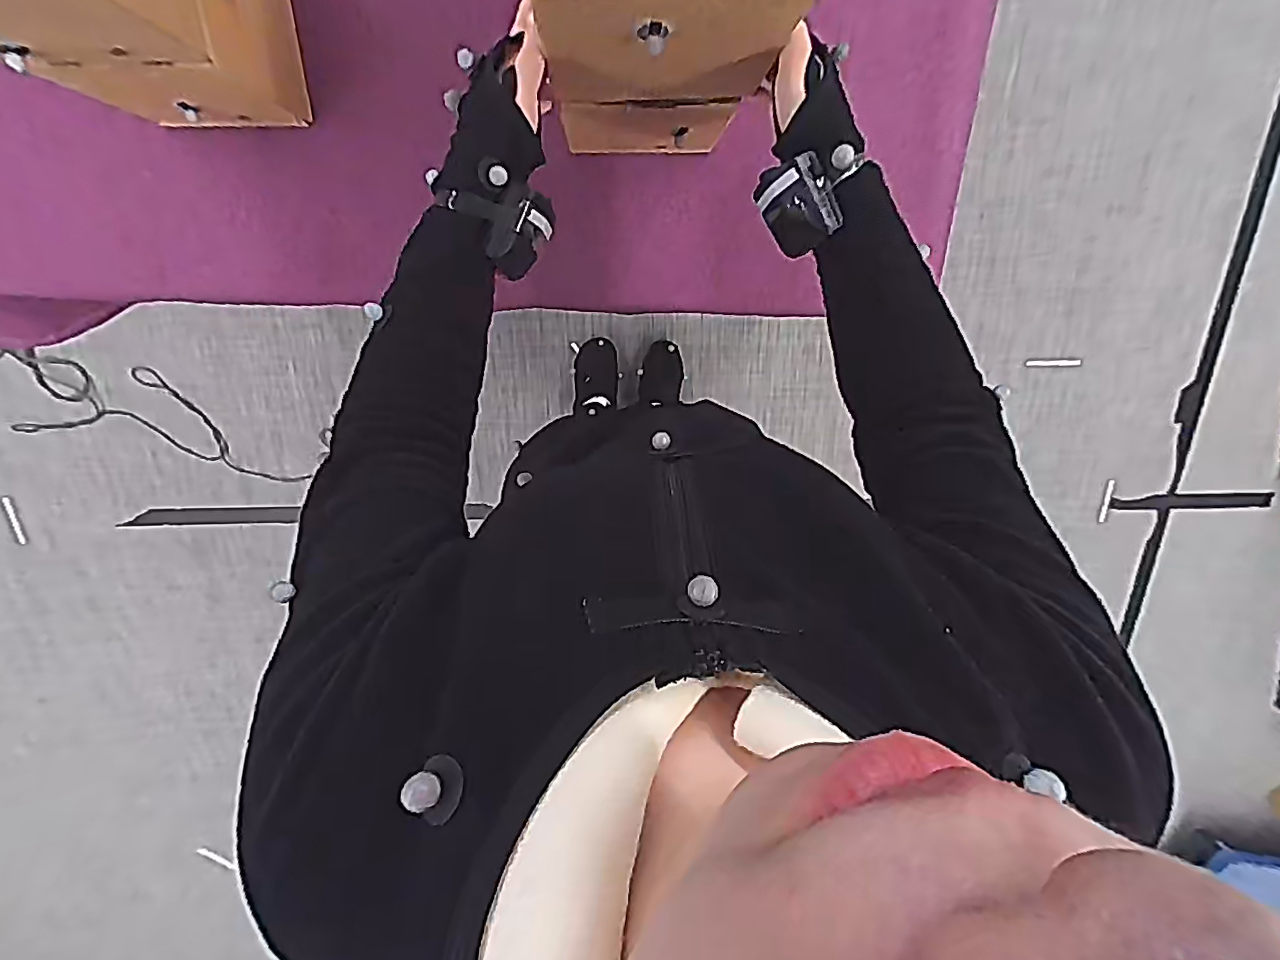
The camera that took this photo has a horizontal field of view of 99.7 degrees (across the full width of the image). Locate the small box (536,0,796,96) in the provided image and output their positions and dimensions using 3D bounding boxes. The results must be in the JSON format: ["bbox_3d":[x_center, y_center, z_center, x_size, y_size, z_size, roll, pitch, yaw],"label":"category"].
[{"bbox_3d":[0.013,-0.386,0.368,0.179,0.176,0.168,-2,108,-3],"label":"small box"}]

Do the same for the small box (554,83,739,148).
[{"bbox_3d":[0.004,-0.440,0.526,0.168,0.176,0.179,-1,109,-3],"label":"small box"}]

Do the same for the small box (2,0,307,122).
[{"bbox_3d":[-0.444,-0.455,0.496,0.168,0.176,0.179,-2,110,-3],"label":"small box"}]

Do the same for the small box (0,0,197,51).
[{"bbox_3d":[-0.436,-0.402,0.341,0.168,0.176,0.179,-3,109,-3],"label":"small box"}]
